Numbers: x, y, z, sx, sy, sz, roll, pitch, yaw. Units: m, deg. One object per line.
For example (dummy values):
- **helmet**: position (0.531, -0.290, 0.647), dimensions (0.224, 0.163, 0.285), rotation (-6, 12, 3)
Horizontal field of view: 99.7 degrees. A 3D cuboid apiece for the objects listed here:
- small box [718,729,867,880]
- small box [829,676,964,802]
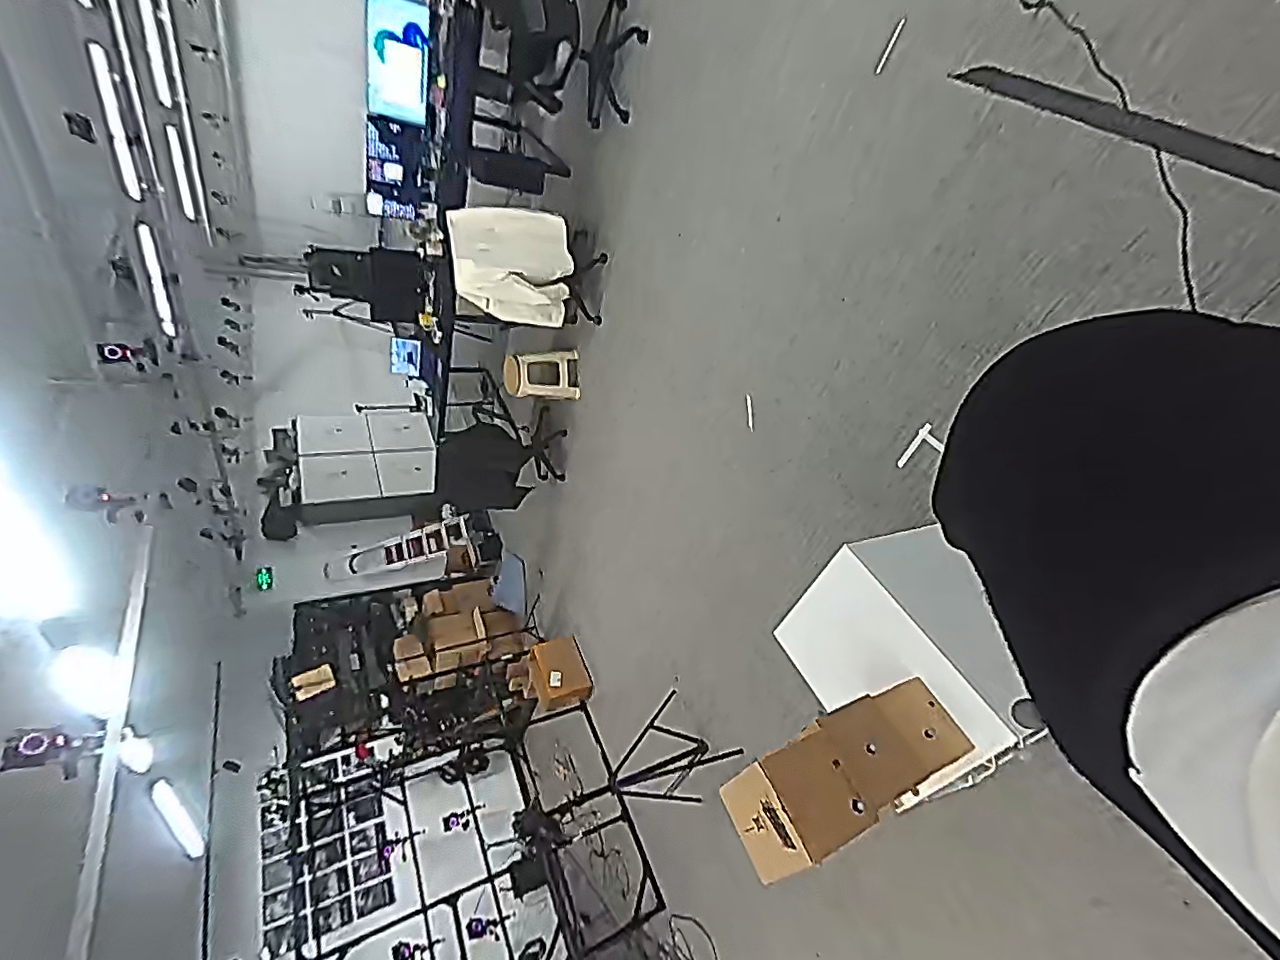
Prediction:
- **small box**: position (0.280, 0.586, 0.989), dimensions (0.168, 0.176, 0.179), rotation (60, 143, 33)
- **small box**: position (0.556, 0.552, 1.166), dimensions (0.168, 0.176, 0.179), rotation (58, 141, 36)
